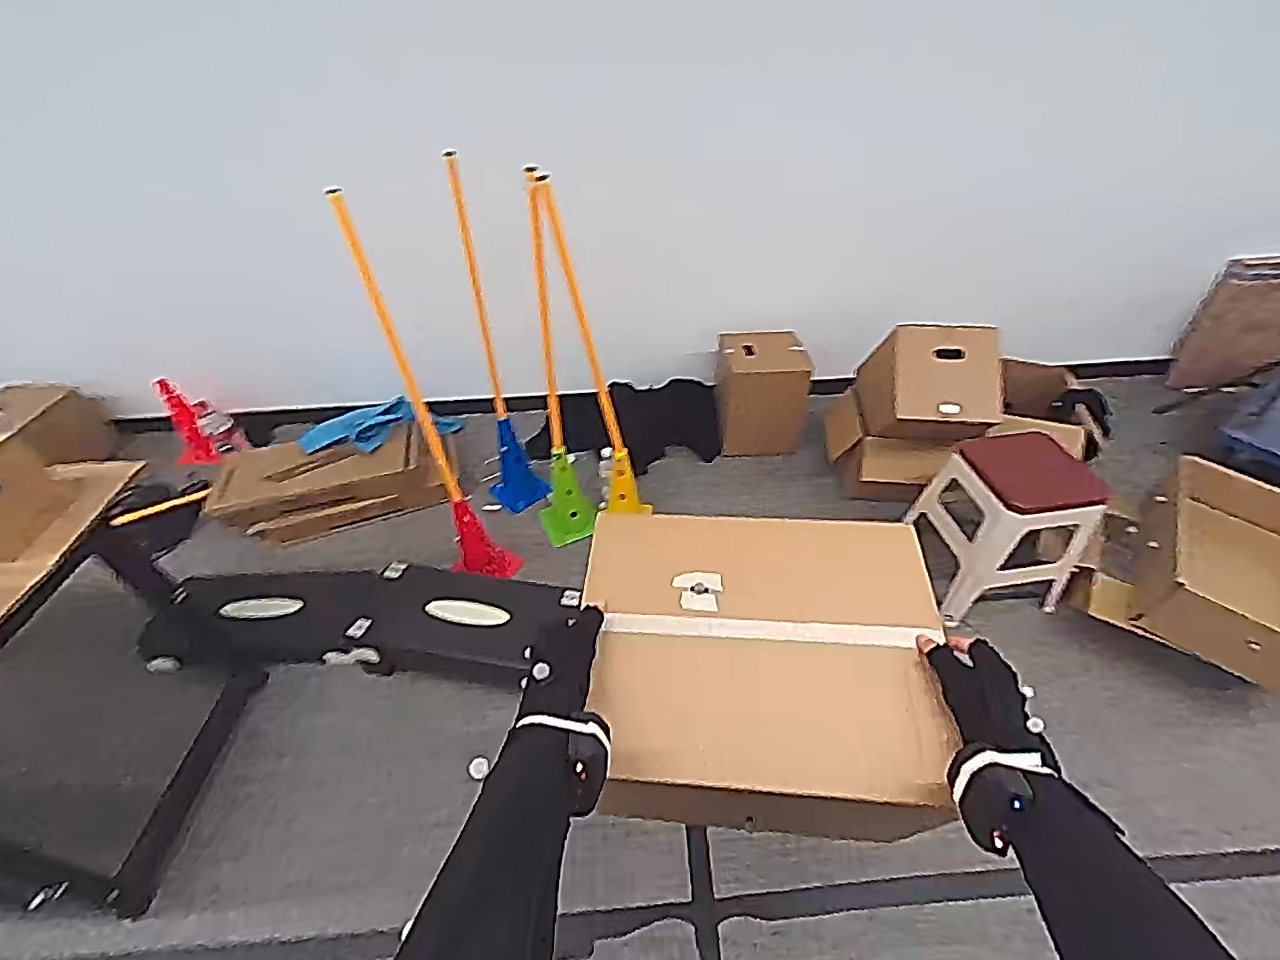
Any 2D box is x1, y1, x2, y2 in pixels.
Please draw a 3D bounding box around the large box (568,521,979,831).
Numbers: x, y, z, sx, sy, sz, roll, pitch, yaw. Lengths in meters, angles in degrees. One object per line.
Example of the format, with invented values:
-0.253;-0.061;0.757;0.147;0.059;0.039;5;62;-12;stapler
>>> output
0.149;0.269;0.734;0.408;0.320;0.320;2;51;7;large box
